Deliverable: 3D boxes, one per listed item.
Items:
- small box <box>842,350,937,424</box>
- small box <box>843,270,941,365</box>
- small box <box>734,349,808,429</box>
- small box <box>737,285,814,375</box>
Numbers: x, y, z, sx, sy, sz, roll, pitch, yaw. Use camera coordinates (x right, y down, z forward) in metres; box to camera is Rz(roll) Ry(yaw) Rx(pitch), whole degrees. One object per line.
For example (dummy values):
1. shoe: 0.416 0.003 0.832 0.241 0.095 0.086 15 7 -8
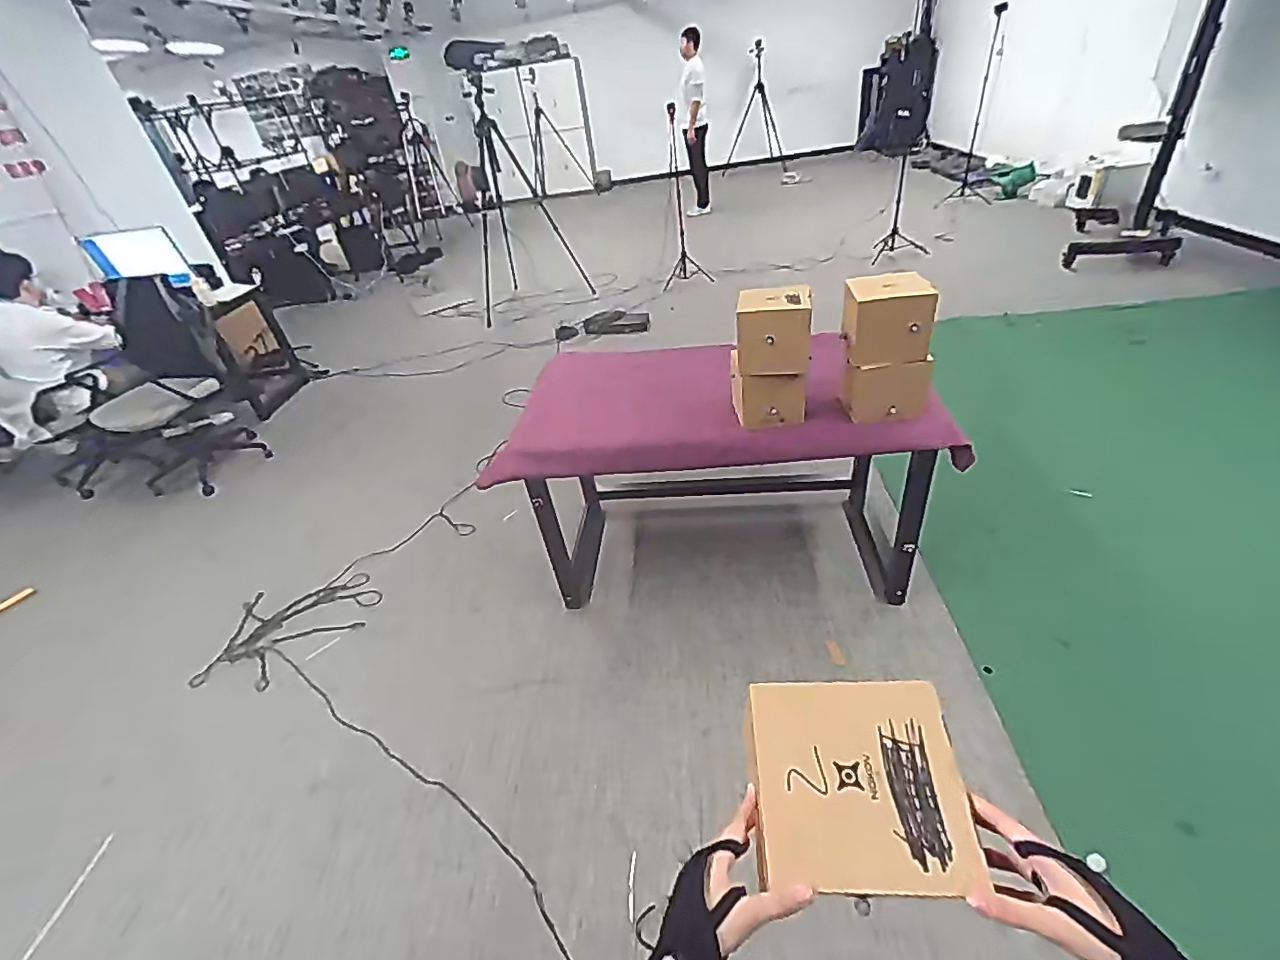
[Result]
1. small box: 0.645 -0.265 1.420 0.179 0.176 0.168 -6 36 6
2. small box: 0.609 -0.398 1.331 0.179 0.176 0.168 -3 37 11
3. small box: 0.354 -0.259 1.484 0.168 0.176 0.179 -8 36 4
4. small box: 0.344 -0.377 1.367 0.179 0.176 0.168 1 37 16
